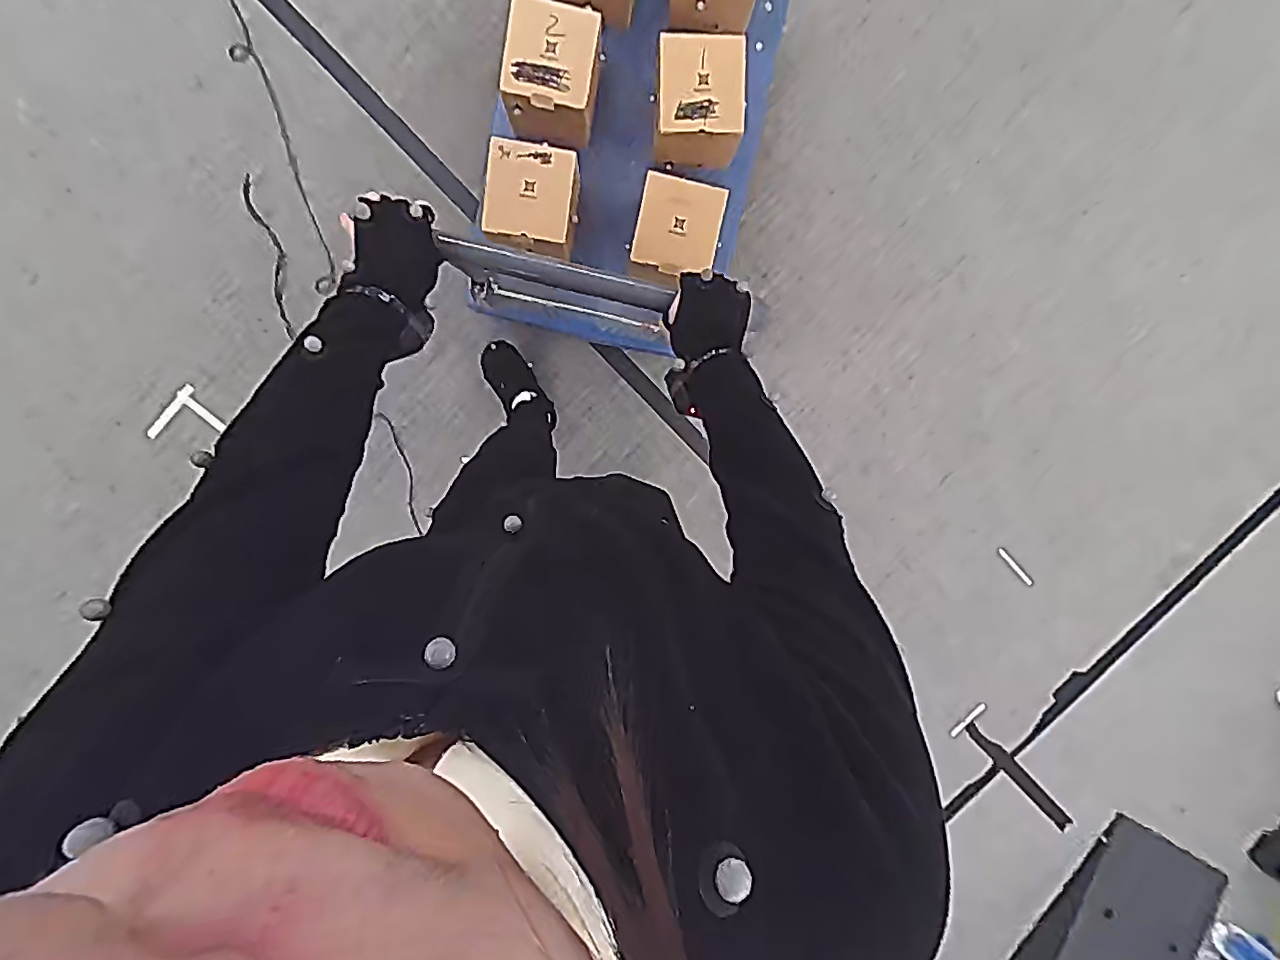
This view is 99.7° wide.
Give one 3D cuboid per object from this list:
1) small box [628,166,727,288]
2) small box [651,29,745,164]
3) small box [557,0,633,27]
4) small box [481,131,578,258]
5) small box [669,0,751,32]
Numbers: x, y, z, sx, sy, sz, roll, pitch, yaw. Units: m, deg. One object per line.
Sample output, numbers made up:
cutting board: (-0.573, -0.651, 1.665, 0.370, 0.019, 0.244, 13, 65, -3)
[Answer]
small box: (0.071, -0.523, 1.148, 0.168, 0.176, 0.179, 12, 97, -6)
small box: (0.112, -0.775, 1.112, 0.168, 0.176, 0.179, 0, 98, -4)
small box: (-0.080, -1.052, 1.055, 0.168, 0.176, 0.179, 13, 98, -6)
small box: (-0.221, -0.577, 1.120, 0.168, 0.176, 0.179, 8, 98, -6)
small box: (0.154, -1.042, 1.075, 0.168, 0.176, 0.179, 9, 98, -5)
